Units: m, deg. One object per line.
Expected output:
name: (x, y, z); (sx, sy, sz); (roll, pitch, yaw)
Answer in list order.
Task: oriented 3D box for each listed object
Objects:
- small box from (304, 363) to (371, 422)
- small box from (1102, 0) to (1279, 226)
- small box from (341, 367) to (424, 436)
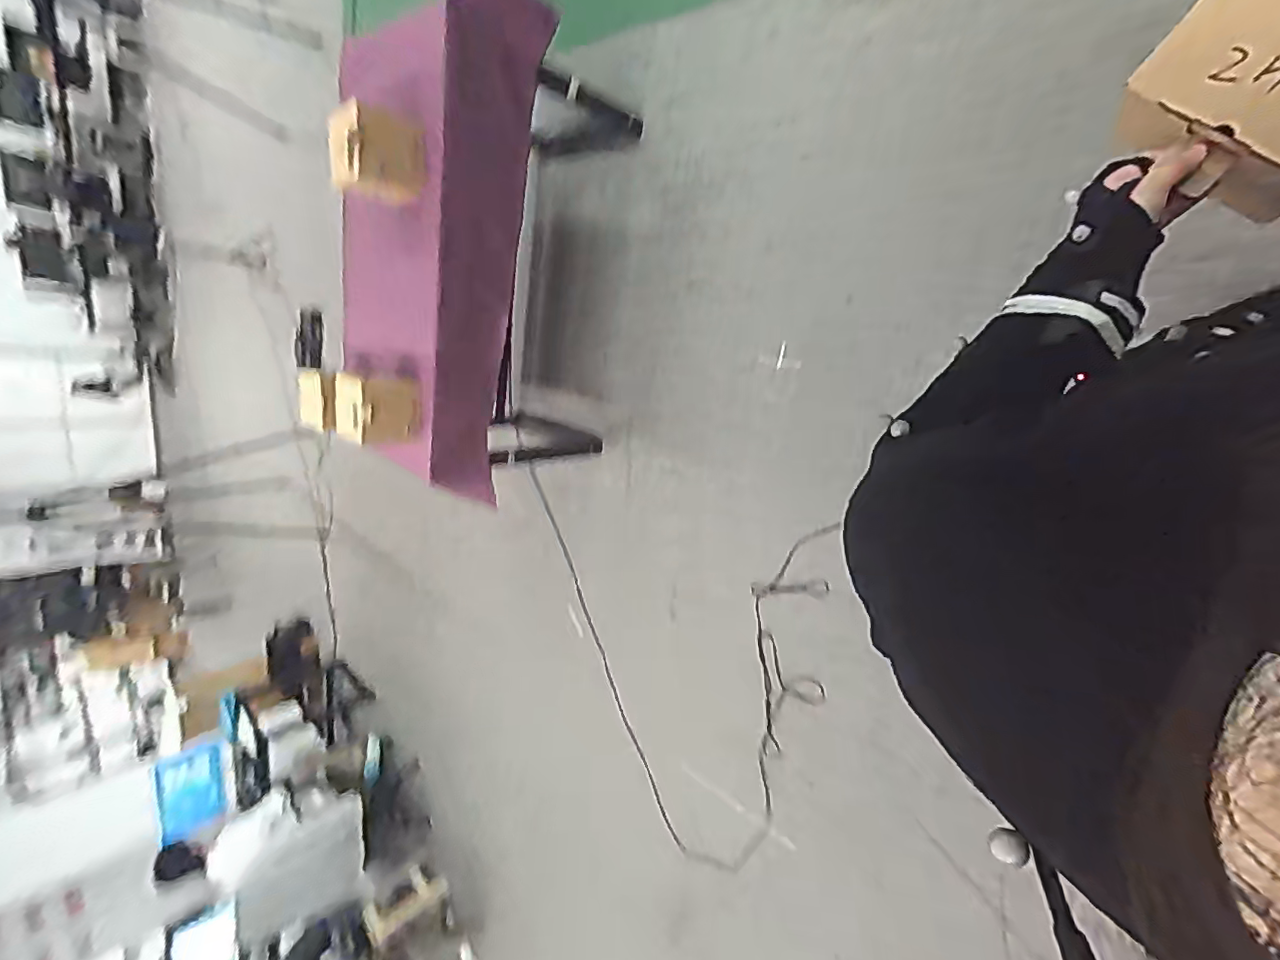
small box: (-0.953, -0.282, 1.737); (0.179, 0.176, 0.168); (15, 106, 38)
small box: (0.531, -0.342, 0.446); (0.168, 0.176, 0.179); (47, 126, 18)
small box: (-0.743, -0.229, 1.562); (0.179, 0.176, 0.168); (20, 109, 39)
